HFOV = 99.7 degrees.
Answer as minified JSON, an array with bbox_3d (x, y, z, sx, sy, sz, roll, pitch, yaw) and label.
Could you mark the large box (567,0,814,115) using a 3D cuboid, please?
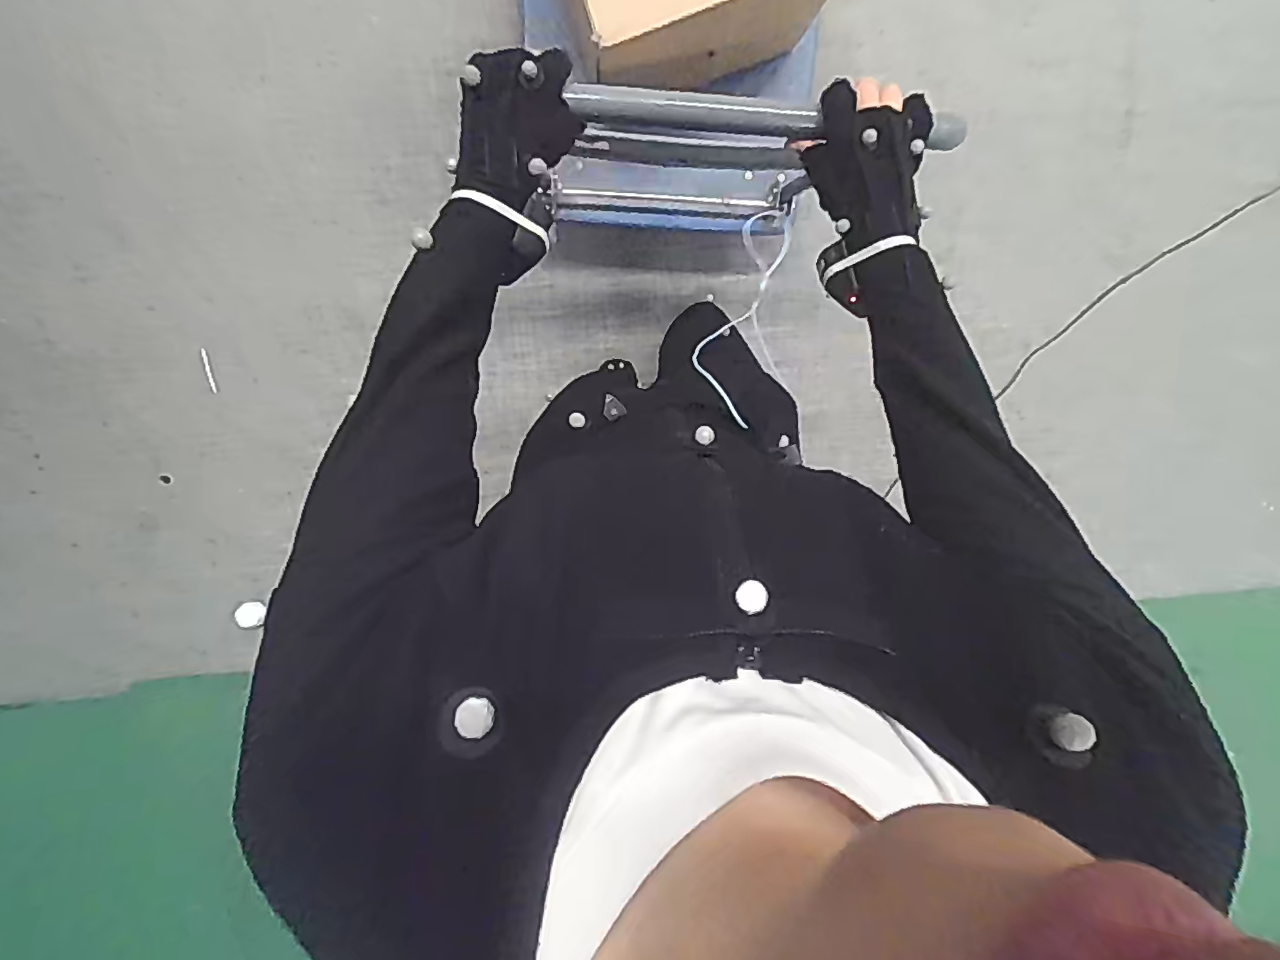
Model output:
[{"bbox_3d":[0.069,-0.892,0.896,0.408,0.320,0.320,-19,106,4],"label":"large box"}]
